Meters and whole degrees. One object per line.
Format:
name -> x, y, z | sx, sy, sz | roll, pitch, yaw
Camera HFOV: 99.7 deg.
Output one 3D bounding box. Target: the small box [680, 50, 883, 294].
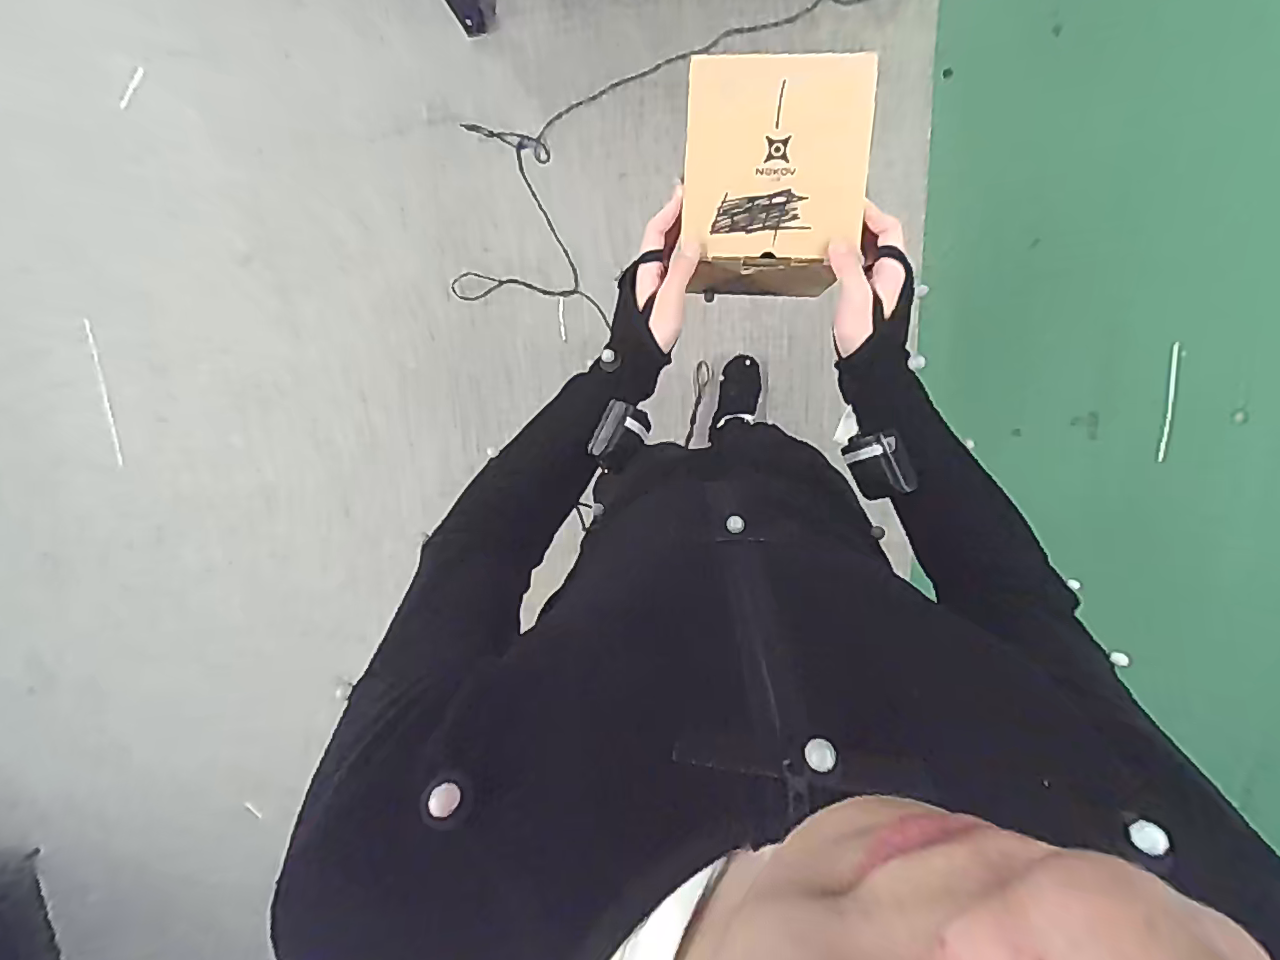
small box -> 0.131, -0.297, 0.559 | 0.168, 0.176, 0.179 | 3, 98, 5
